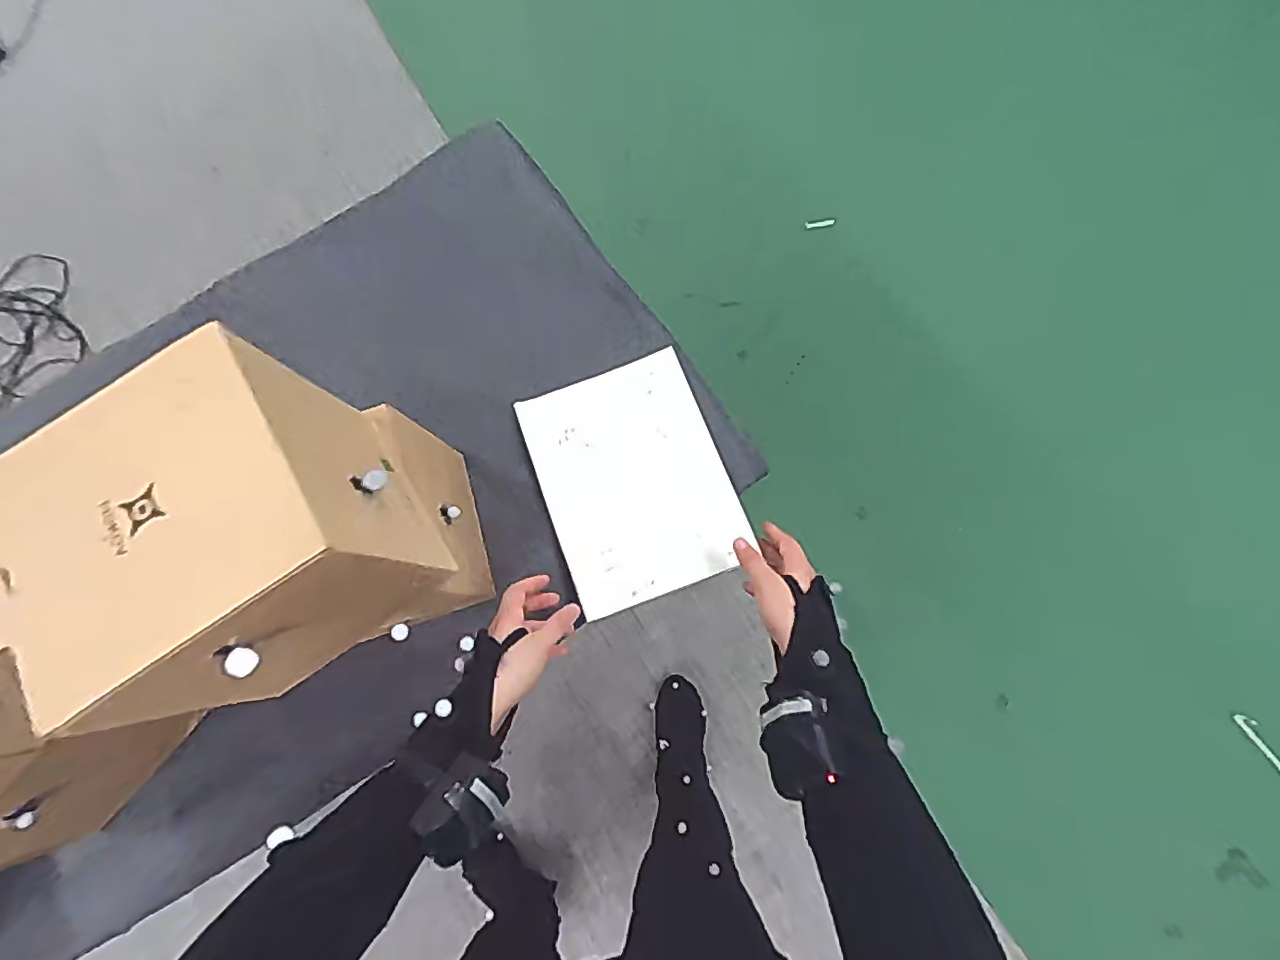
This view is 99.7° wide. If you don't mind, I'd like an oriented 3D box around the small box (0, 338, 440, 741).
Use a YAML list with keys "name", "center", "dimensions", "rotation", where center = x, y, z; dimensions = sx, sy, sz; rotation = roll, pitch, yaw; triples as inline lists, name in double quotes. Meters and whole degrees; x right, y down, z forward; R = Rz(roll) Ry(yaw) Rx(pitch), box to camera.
- name: "small box"
  center: [-0.269, 0.041, 0.380]
  dimensions: [0.179, 0.176, 0.168]
  rotation: [-35, 76, -2]

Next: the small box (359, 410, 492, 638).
- name: "small box"
  center: [-0.271, 0.058, 0.544]
  dimensions: [0.168, 0.176, 0.179]
  rotation: [-19, 77, 2]

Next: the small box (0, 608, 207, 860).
- name: "small box"
  center: [-0.592, 0.245, 0.534]
  dimensions: [0.168, 0.176, 0.179]
  rotation: [39, 84, 11]

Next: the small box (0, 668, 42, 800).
- name: "small box"
  center: [-0.604, 0.213, 0.373]
  dimensions: [0.168, 0.176, 0.179]
  rotation: [42, 84, 11]
